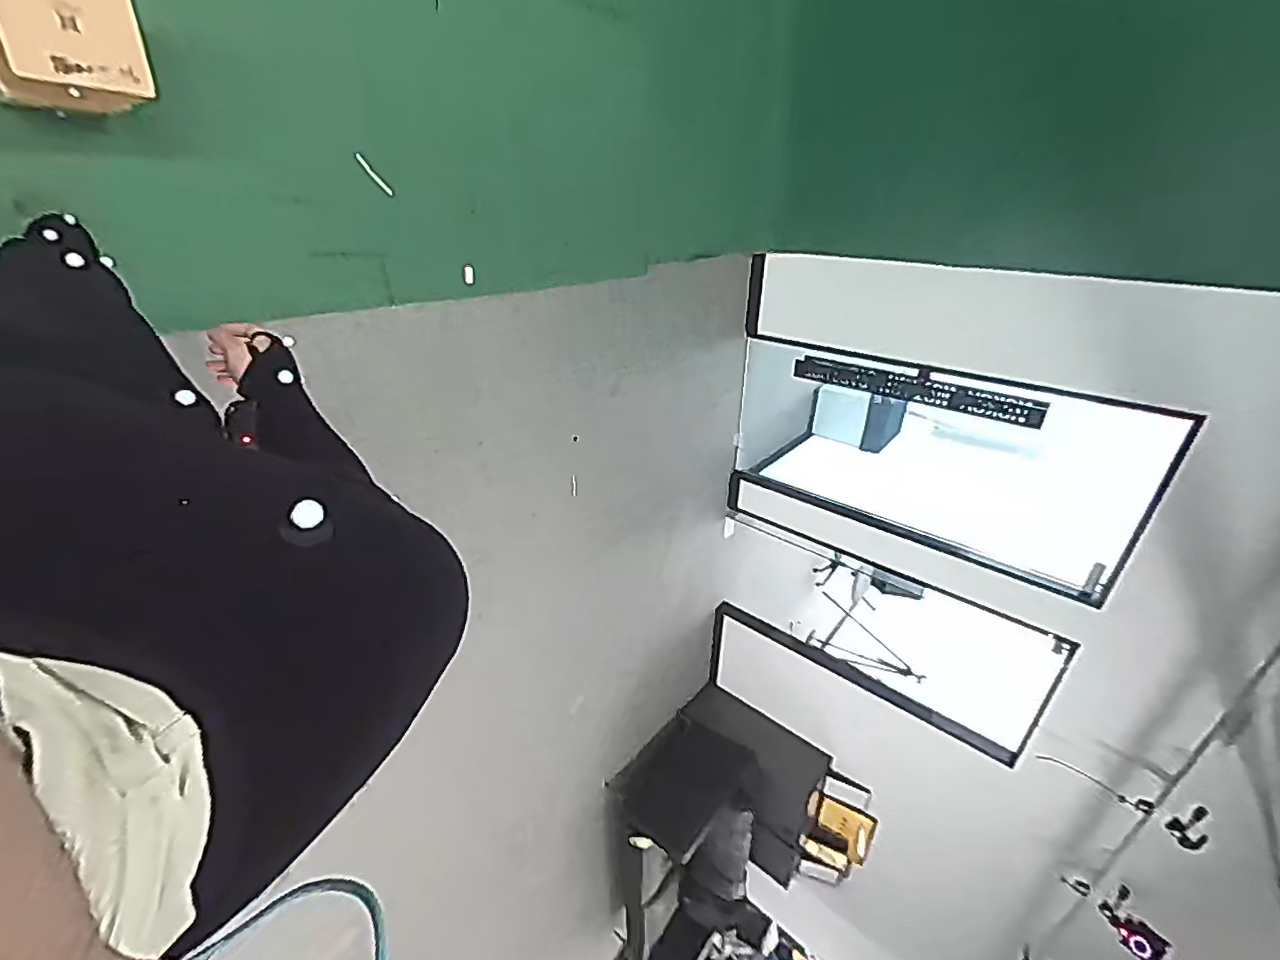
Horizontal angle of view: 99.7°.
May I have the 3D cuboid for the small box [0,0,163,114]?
[{"bbox_3d":[-0.898,-0.698,0.849,0.168,0.176,0.179,-24,126,-45],"label":"small box"}]
